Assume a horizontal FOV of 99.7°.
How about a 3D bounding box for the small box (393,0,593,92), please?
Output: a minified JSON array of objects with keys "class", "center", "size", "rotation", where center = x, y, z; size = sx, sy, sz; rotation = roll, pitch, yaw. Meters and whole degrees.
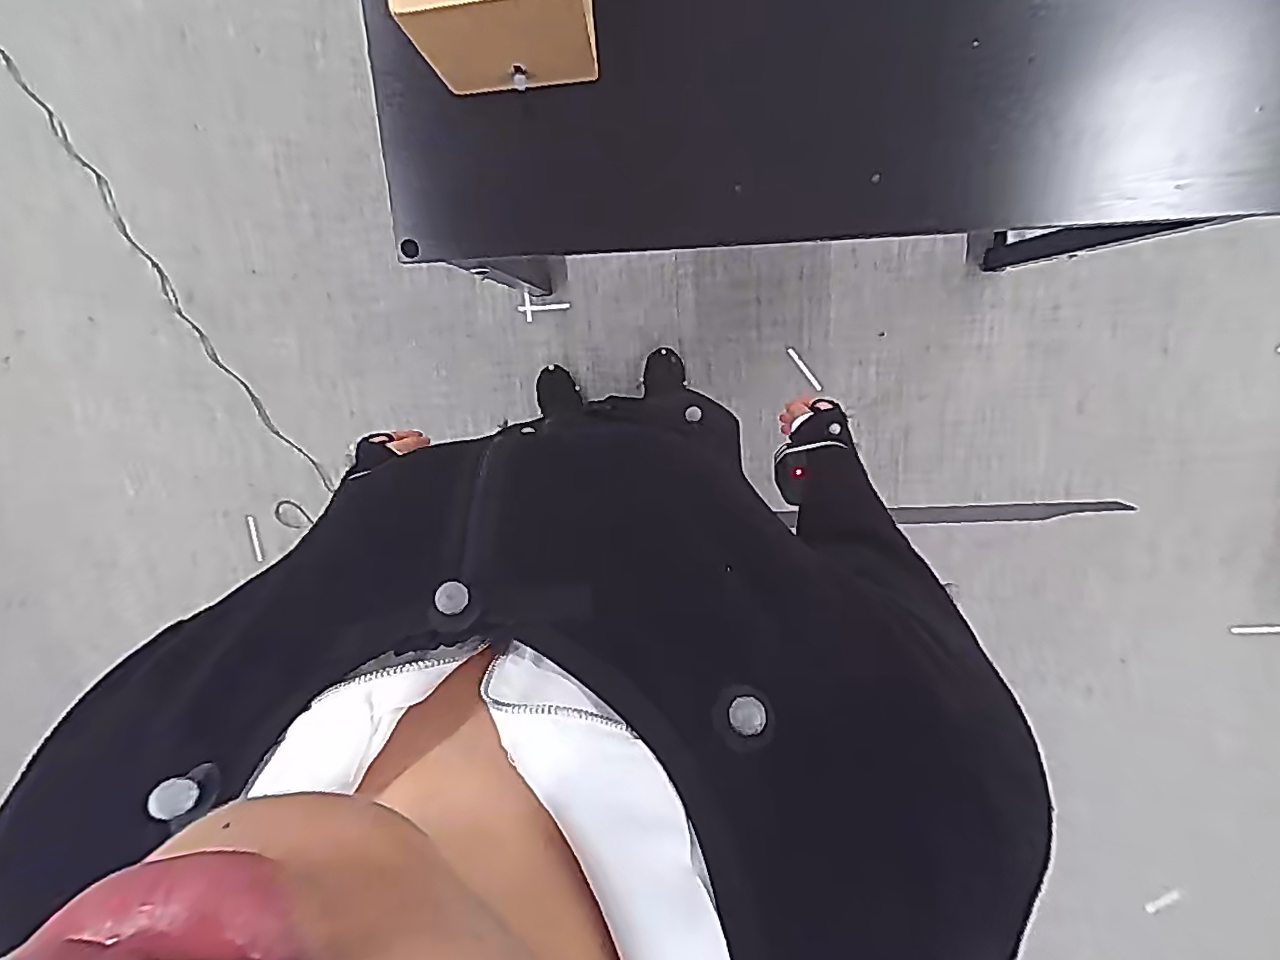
[{"class":"small box","center":[-0.142,-0.524,0.543],"size":[0.179,0.176,0.168],"rotation":[-5,103,1]}]
